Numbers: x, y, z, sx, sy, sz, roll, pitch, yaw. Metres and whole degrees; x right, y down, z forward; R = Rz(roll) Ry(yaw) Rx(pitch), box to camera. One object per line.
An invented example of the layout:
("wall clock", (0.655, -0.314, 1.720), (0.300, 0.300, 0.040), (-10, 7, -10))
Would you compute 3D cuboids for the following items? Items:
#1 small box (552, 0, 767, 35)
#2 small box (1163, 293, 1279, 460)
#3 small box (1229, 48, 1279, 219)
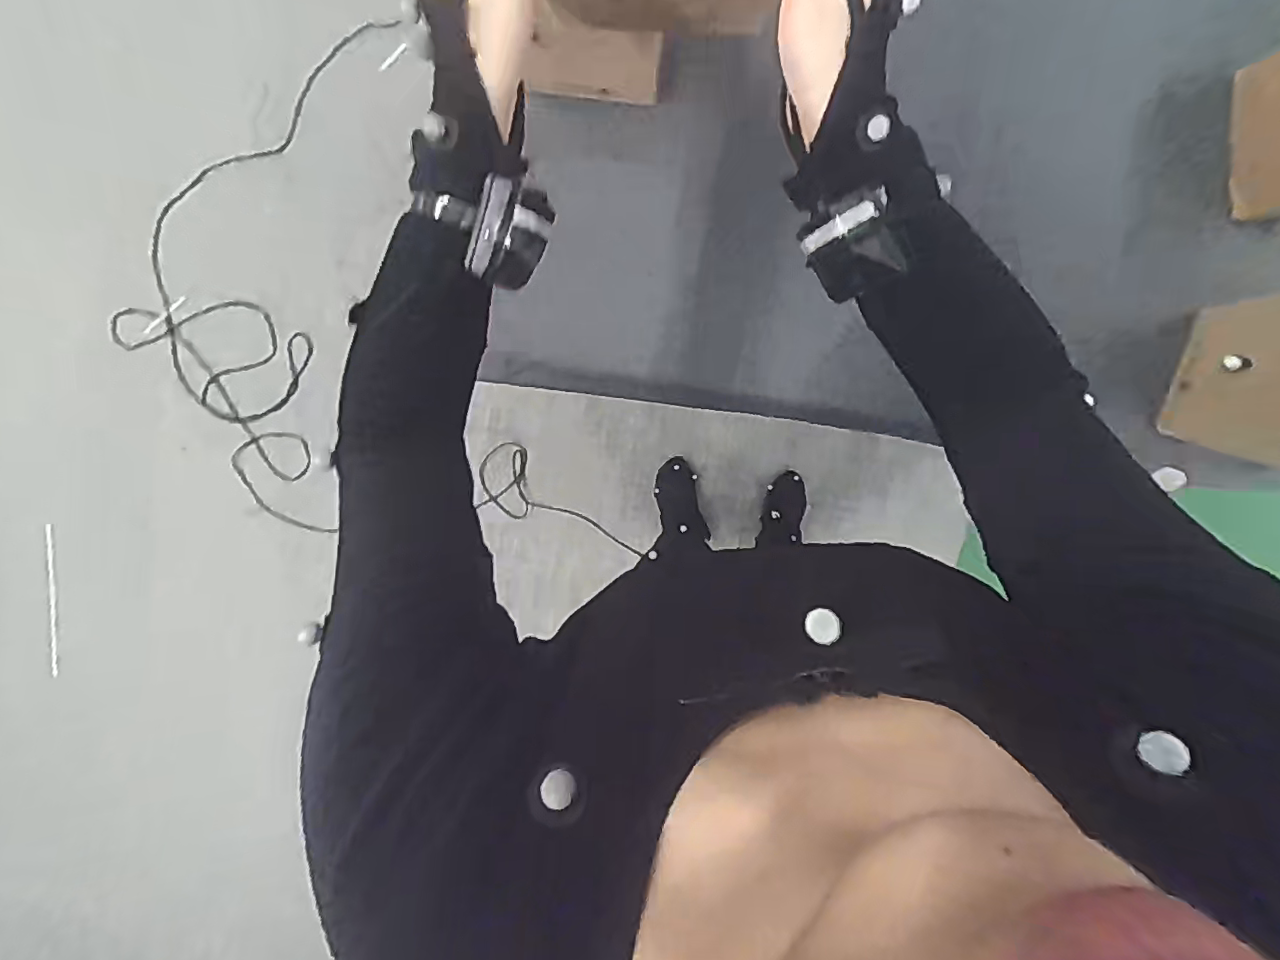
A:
("small box", (0.015, -0.420, 0.348), (0.179, 0.176, 0.168), (3, 112, 1))
("small box", (0.775, -0.113, 0.620), (0.179, 0.176, 0.168), (15, 96, -1))
("small box", (0.796, -0.403, 0.575), (0.168, 0.176, 0.179), (-8, 101, 5))
